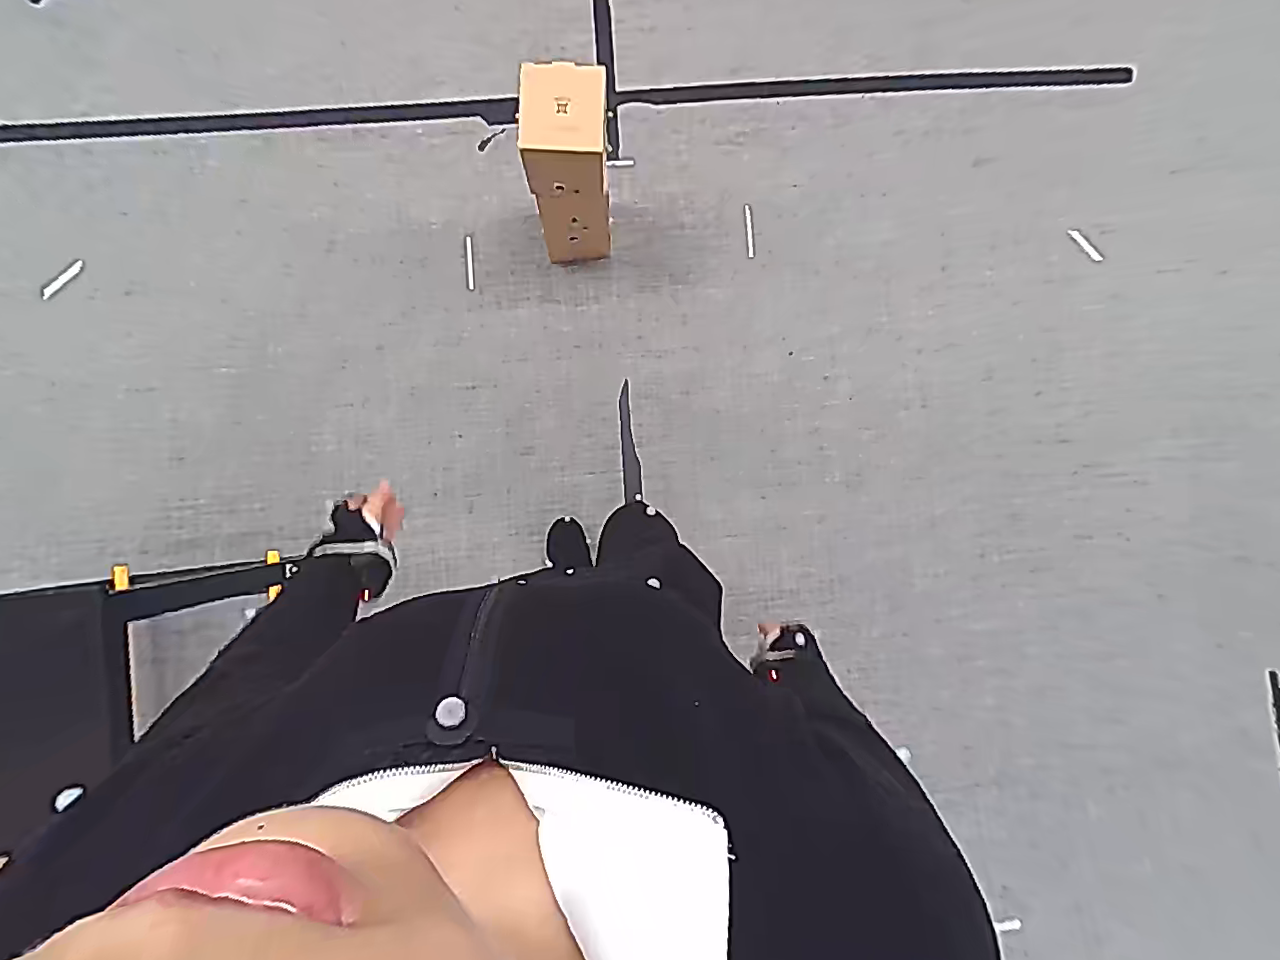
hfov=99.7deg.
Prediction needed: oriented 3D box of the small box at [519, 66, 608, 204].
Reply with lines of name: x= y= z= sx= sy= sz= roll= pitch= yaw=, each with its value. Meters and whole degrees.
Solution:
small box: x=-0.152 y=-0.707 z=1.120 sx=0.168 sy=0.176 sz=0.179 roll=1 pitch=88 yaw=-2

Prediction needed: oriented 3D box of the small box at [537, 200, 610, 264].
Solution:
small box: x=-0.176 y=-0.697 z=1.446 sx=0.179 sy=0.176 sz=0.168 roll=-8 pitch=88 yaw=-4

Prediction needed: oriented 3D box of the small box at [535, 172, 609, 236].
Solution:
small box: x=-0.161 y=-0.706 z=1.283 sx=0.168 sy=0.176 sz=0.179 roll=-5 pitch=88 yaw=-3
